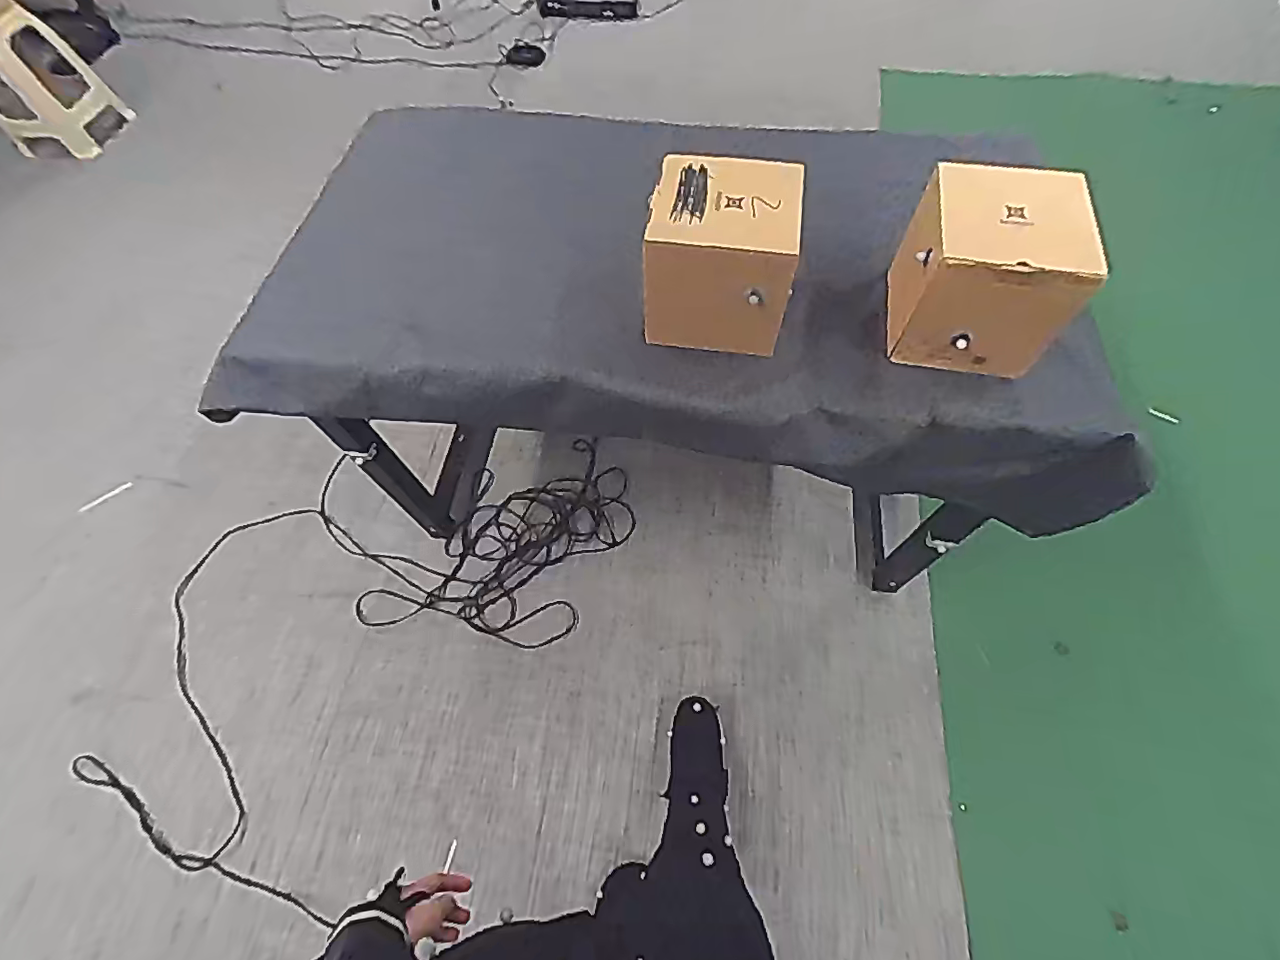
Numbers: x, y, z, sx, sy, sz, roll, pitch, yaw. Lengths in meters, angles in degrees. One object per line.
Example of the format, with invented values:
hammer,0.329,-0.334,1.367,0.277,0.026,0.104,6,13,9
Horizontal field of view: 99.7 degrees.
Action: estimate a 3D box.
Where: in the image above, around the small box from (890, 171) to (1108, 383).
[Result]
small box,0.427,-0.250,0.680,0.168,0.176,0.179,10,63,8
